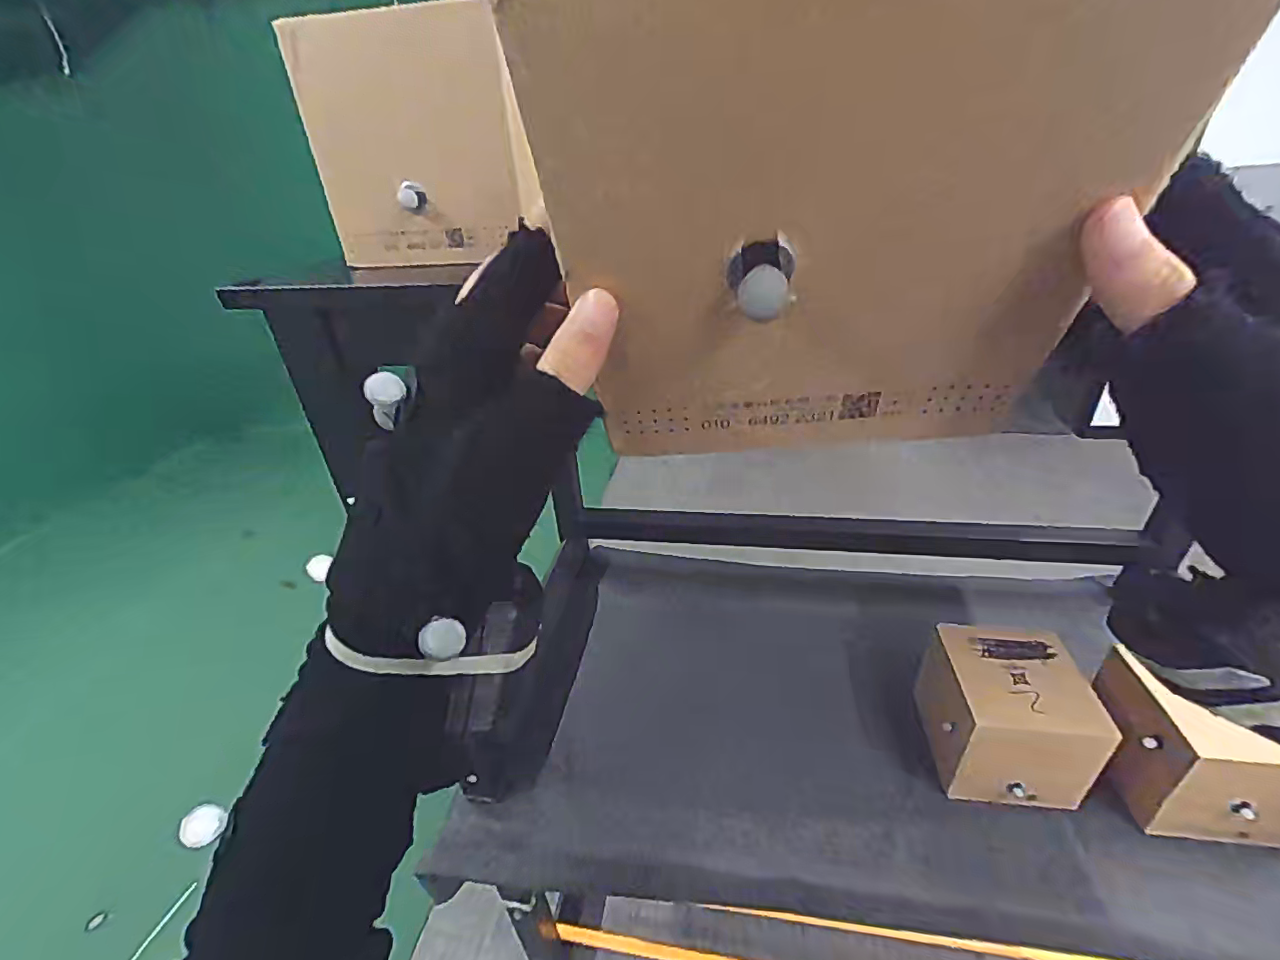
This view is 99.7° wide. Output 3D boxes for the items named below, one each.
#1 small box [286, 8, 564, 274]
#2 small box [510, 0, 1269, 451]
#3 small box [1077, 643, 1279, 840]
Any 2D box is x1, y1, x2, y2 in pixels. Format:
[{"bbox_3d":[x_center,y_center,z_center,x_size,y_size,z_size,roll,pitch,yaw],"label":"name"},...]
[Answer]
[{"bbox_3d":[-0.157,-0.289,0.481,0.168,0.176,0.179,2,32,9],"label":"small box"},{"bbox_3d":[0.064,-0.123,0.219,0.168,0.176,0.179,-3,55,6],"label":"small box"},{"bbox_3d":[0.744,0.347,0.727,0.168,0.176,0.179,1,31,9],"label":"small box"}]
